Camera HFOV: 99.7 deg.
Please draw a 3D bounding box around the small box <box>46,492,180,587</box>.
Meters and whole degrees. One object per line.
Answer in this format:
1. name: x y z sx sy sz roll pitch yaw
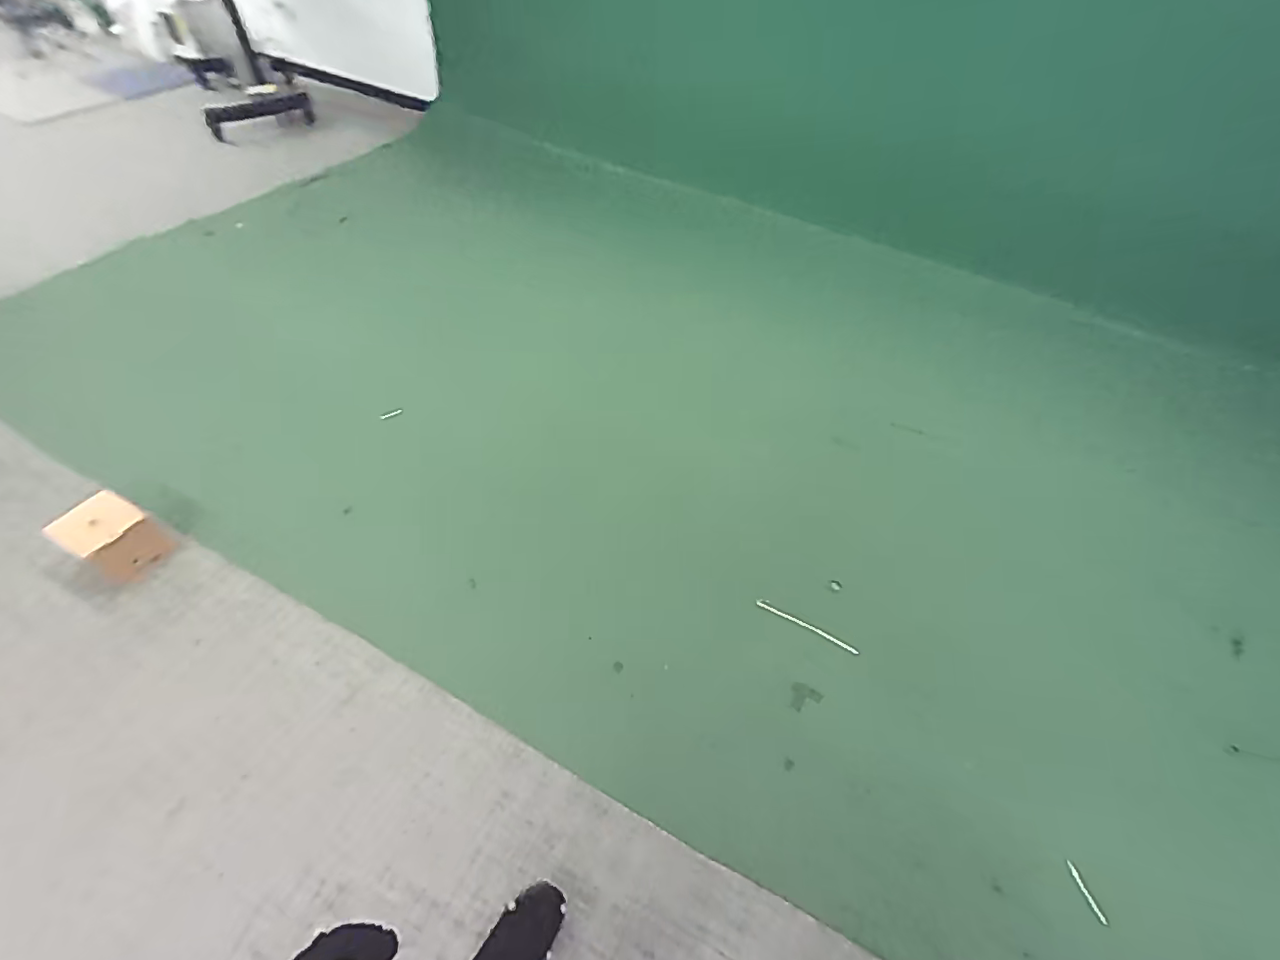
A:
1. small box: -1.460 0.171 1.510 0.179 0.176 0.168 25 53 13
